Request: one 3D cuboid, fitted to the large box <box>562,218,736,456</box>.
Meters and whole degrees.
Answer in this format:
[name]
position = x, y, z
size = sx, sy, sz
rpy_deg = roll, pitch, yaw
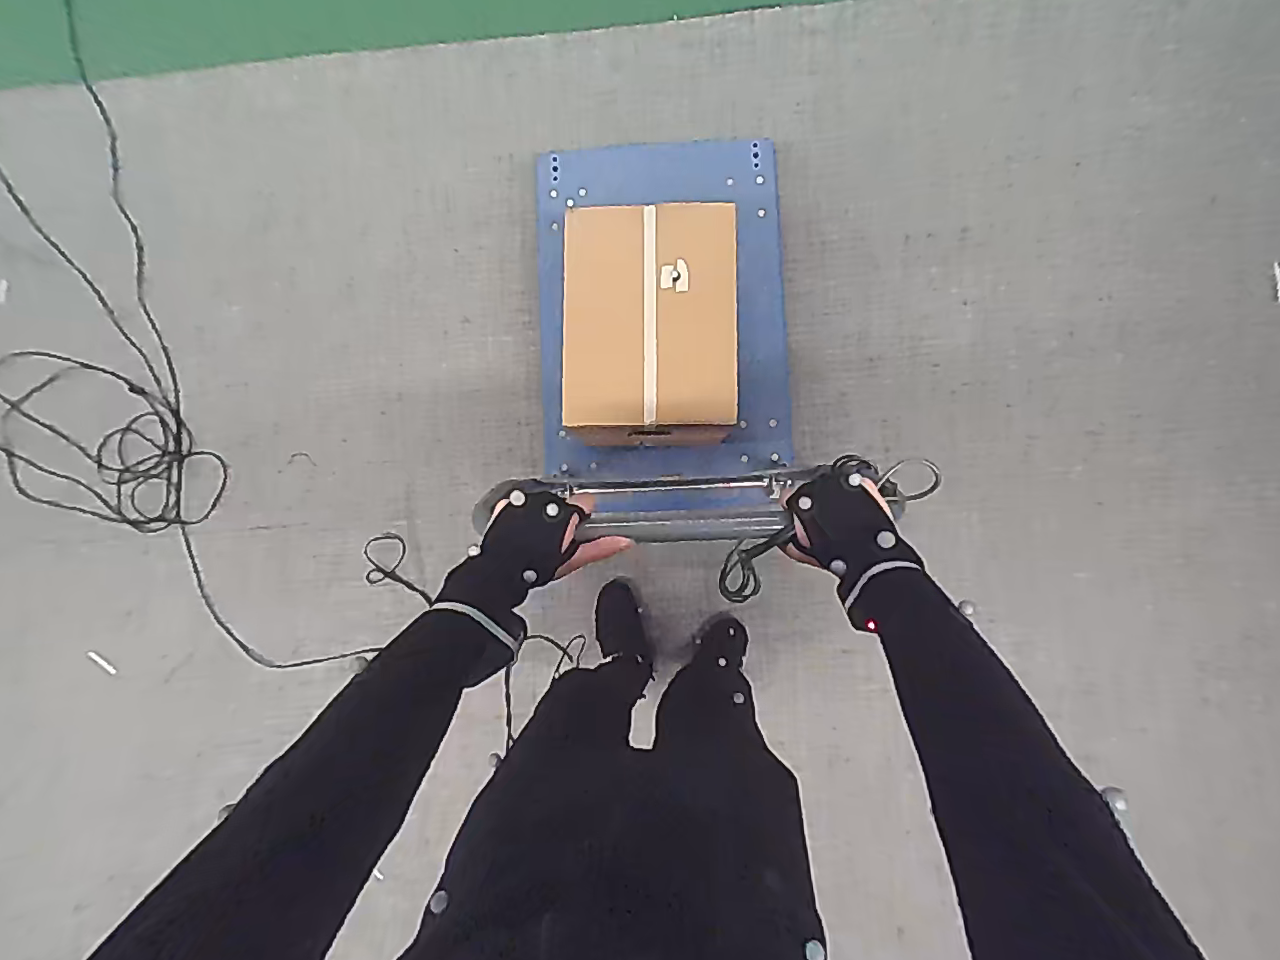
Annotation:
[large box]
position = 0.023, -0.267, 1.124
size = 0.320, 0.320, 0.408
rpy_deg = 0, 86, 2
